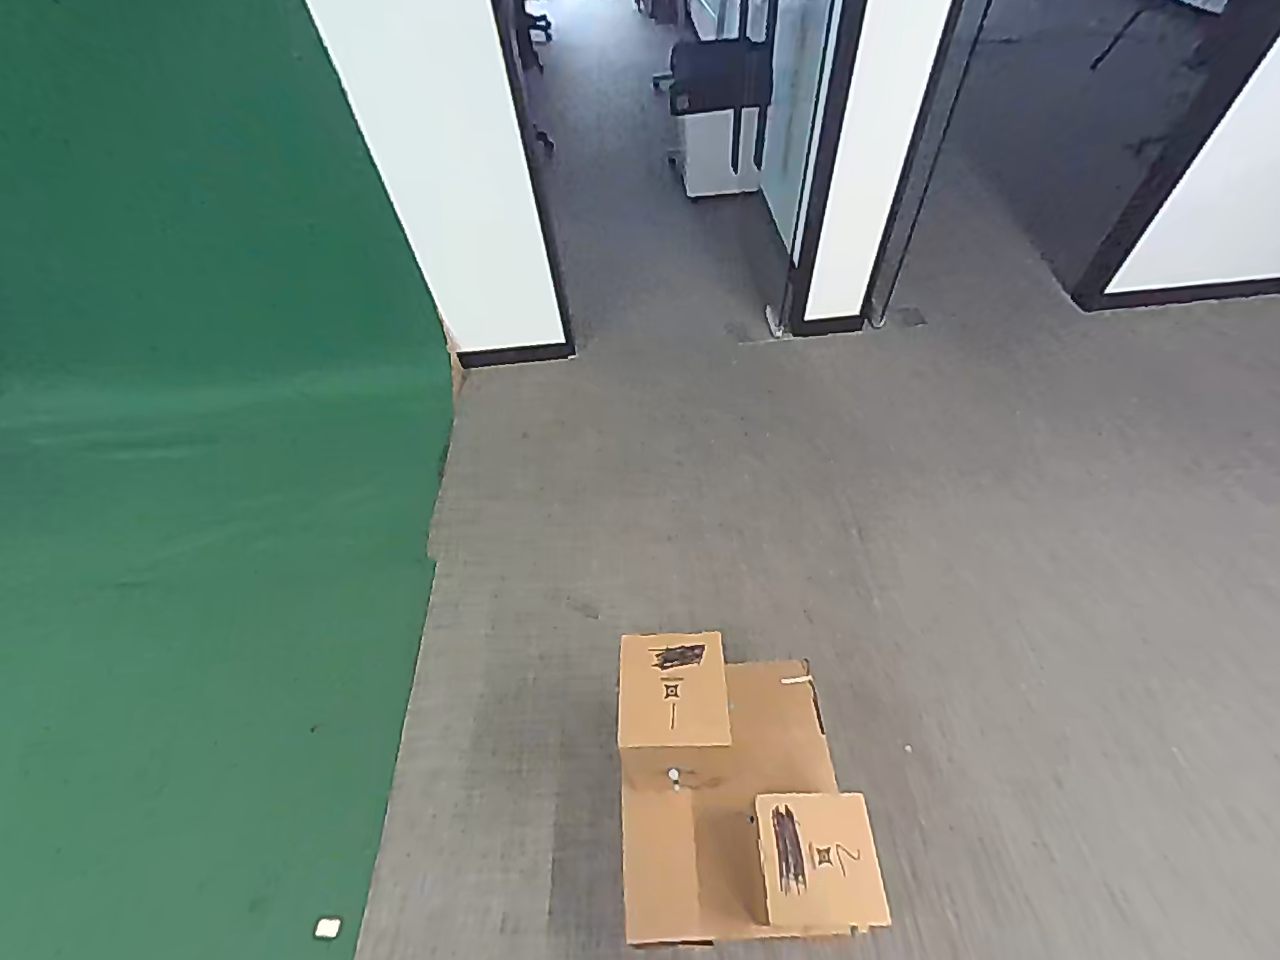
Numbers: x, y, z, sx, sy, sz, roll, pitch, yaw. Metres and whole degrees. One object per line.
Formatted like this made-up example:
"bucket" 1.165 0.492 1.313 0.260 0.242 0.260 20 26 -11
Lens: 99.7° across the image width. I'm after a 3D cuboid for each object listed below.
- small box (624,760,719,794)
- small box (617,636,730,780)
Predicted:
"small box" 0.059 0.473 1.021 0.168 0.176 0.179 -5 48 2
"small box" 0.054 0.375 0.887 0.168 0.176 0.179 -3 49 4
